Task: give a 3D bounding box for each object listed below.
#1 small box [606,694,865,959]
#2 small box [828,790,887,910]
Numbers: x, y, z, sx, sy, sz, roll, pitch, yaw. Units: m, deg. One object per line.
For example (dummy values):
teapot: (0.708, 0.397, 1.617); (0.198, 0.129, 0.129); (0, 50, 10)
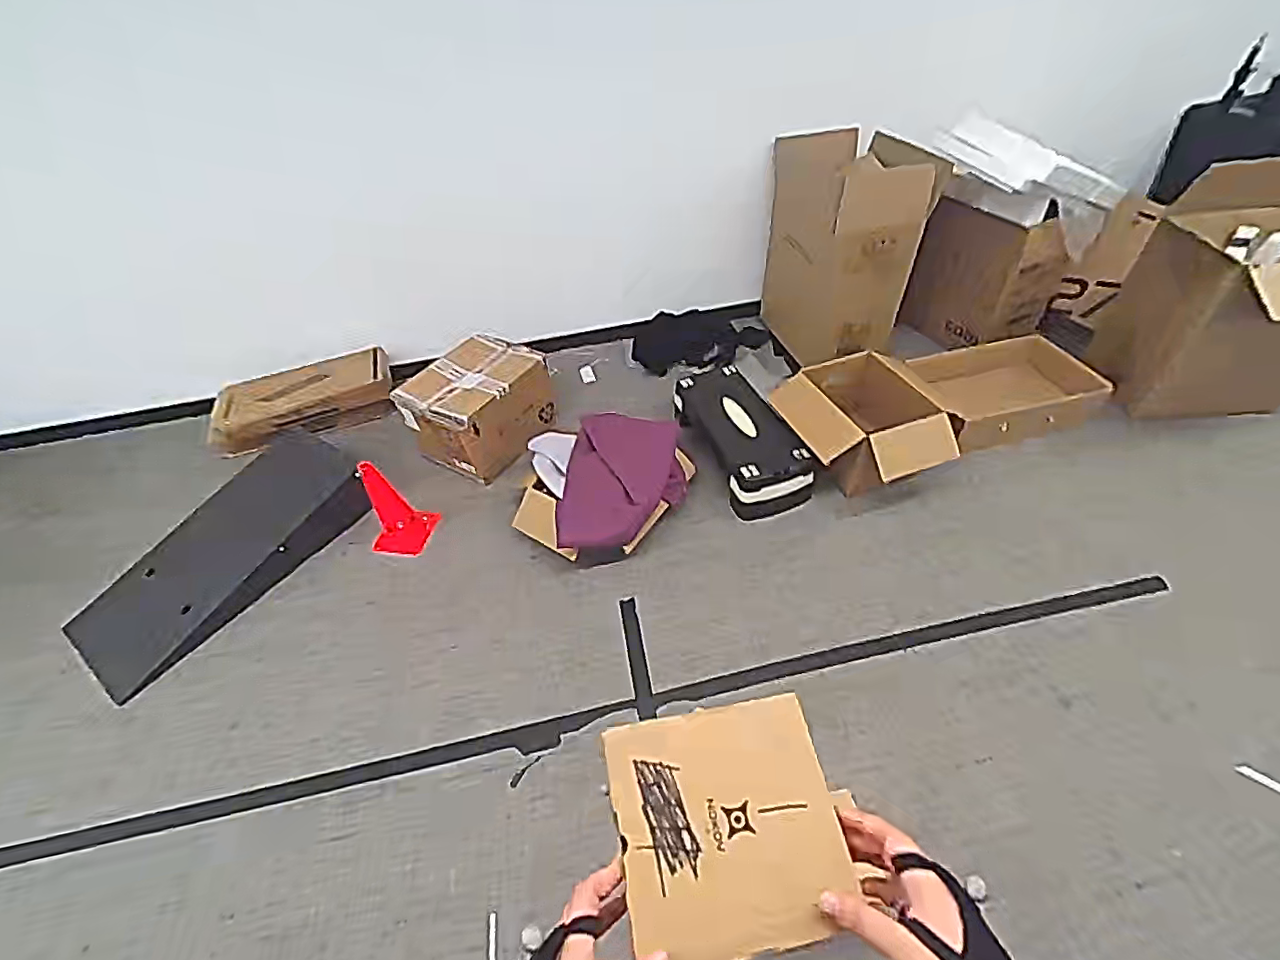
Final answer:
small box: (0.068, 0.312, 0.496); (0.179, 0.176, 0.168); (-7, 57, -6)
small box: (0.337, 0.723, 1.032); (0.168, 0.176, 0.179); (-10, 46, -4)
